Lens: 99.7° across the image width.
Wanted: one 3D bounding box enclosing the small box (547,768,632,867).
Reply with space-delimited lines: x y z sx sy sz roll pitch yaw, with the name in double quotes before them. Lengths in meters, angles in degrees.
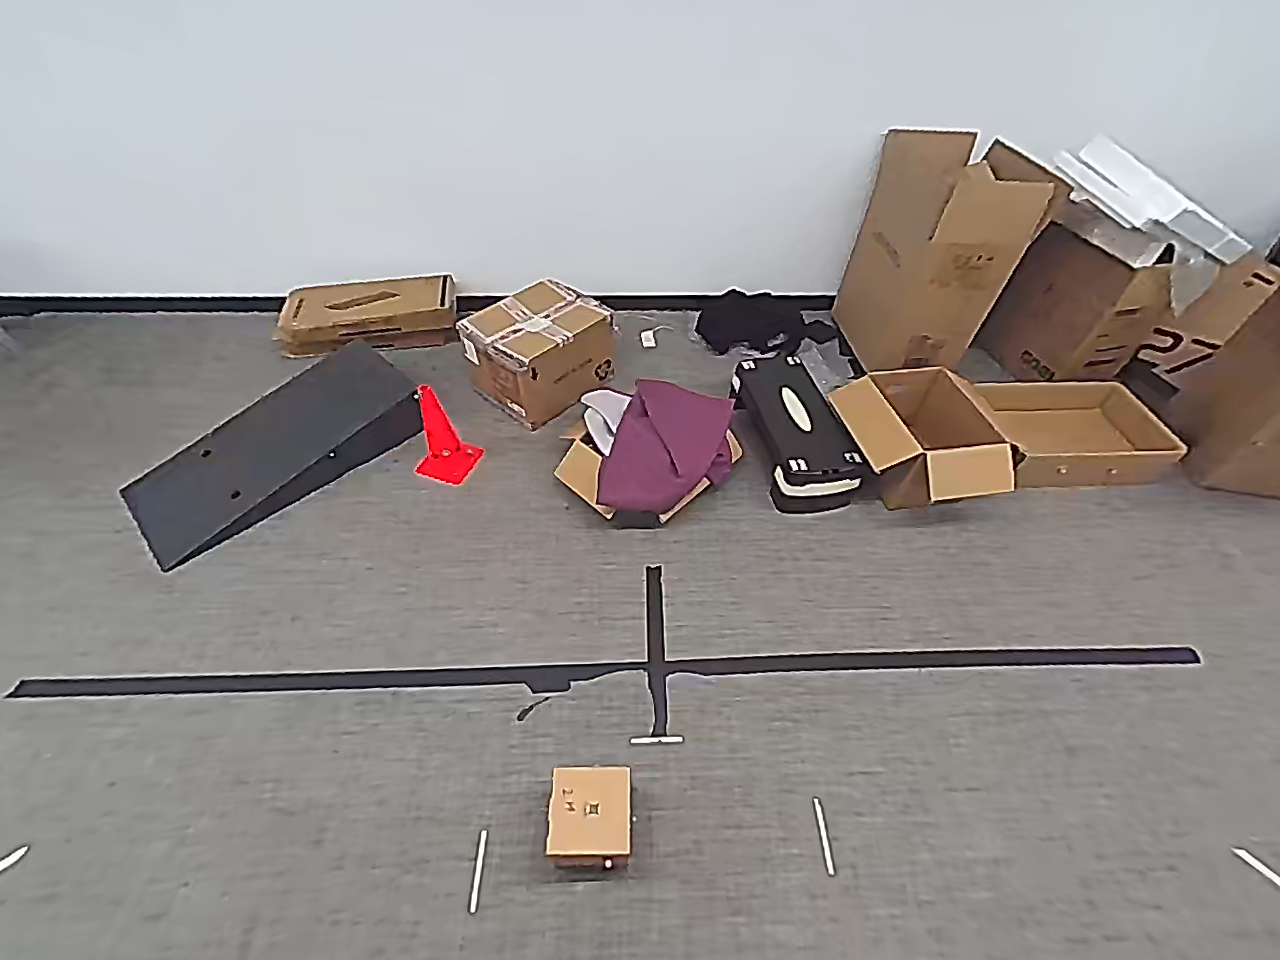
"small box" -0.107 0.767 1.227 0.179 0.176 0.168 0 48 -1
